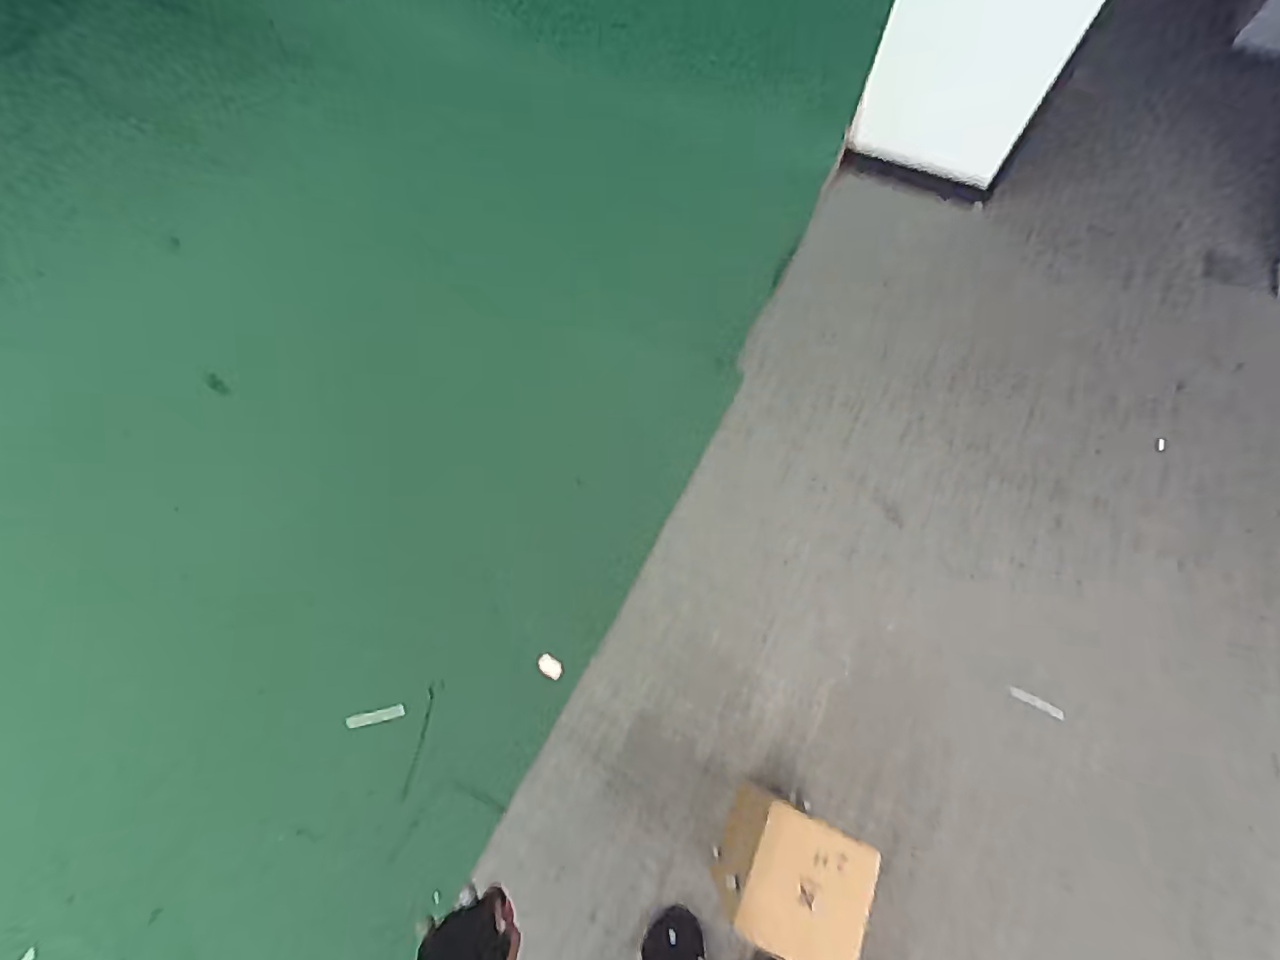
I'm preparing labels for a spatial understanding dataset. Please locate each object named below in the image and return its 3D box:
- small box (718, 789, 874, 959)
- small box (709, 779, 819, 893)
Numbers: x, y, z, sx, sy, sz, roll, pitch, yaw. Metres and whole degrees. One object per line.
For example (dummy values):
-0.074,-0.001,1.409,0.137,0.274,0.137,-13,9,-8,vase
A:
0.229,0.611,0.834,0.168,0.176,0.179,24,68,10,small box
0.235,0.676,0.985,0.168,0.176,0.179,25,68,11,small box
